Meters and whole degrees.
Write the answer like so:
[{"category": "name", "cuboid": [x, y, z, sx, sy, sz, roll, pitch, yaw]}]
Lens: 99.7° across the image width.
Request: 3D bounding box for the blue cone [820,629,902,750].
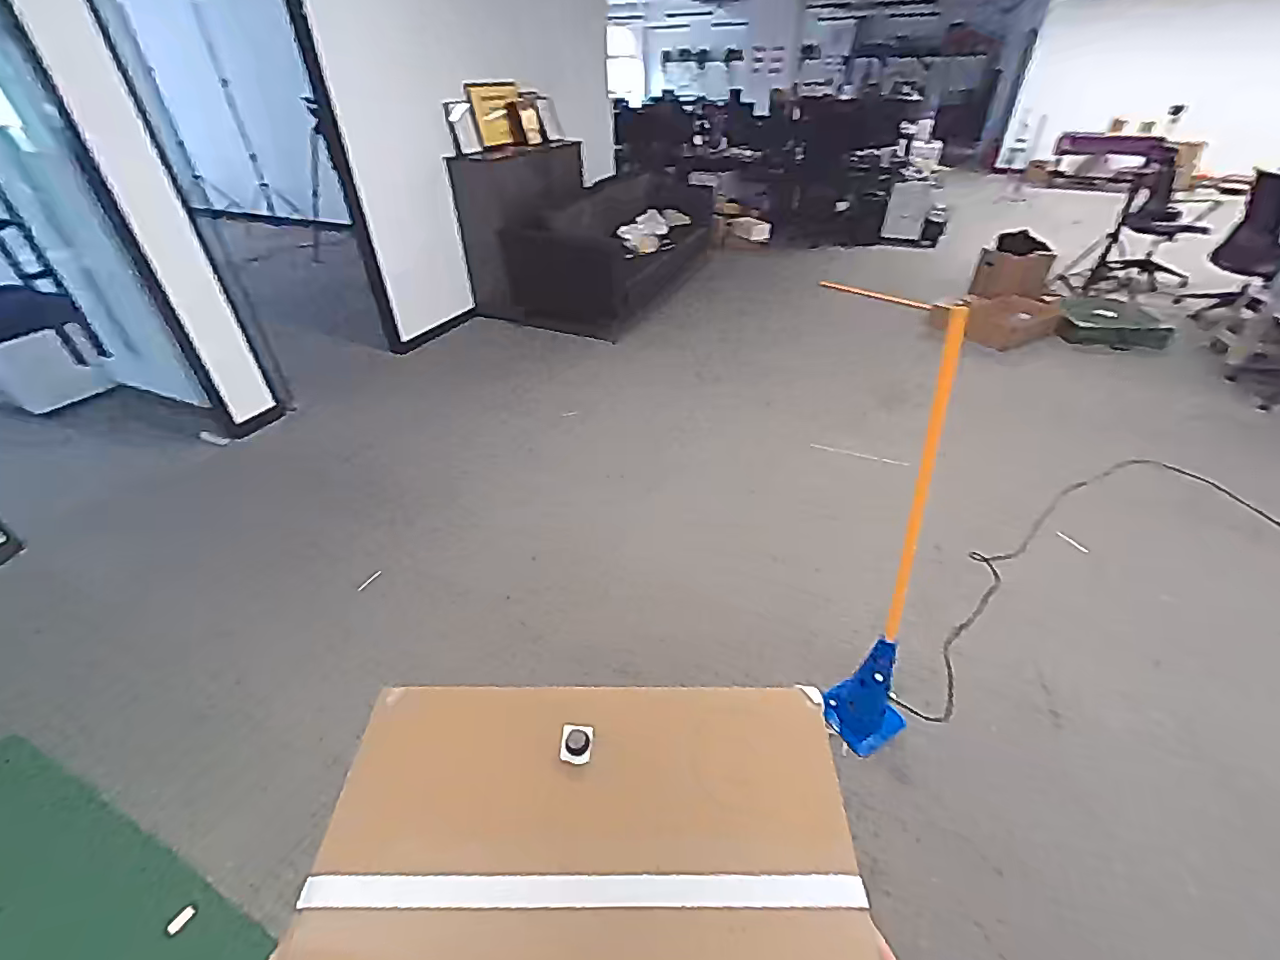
[{"category": "blue cone", "cuboid": [0.649, 0.554, 1.501, 0.193, 0.380, 0.192, -22, 41, -24]}]
